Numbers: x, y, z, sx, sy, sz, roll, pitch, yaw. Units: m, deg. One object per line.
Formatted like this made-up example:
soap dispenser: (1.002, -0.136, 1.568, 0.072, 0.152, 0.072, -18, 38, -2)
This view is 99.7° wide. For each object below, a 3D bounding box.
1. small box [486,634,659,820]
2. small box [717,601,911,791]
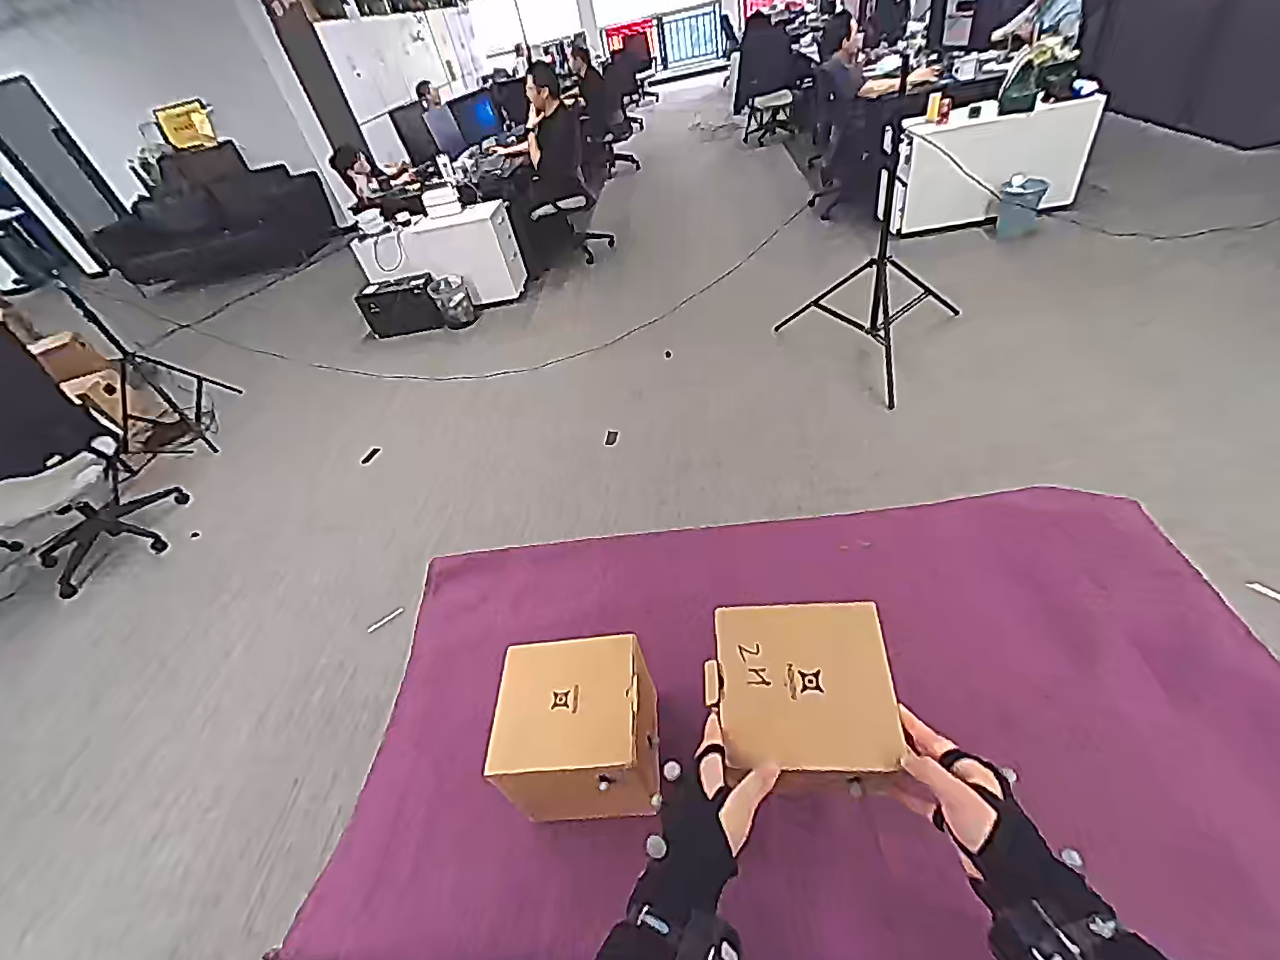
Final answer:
small box: (-0.076, 0.327, 0.710, 0.179, 0.176, 0.168, -8, 41, 6)
small box: (0.185, 0.251, 0.621, 0.179, 0.176, 0.168, -6, 53, 11)
